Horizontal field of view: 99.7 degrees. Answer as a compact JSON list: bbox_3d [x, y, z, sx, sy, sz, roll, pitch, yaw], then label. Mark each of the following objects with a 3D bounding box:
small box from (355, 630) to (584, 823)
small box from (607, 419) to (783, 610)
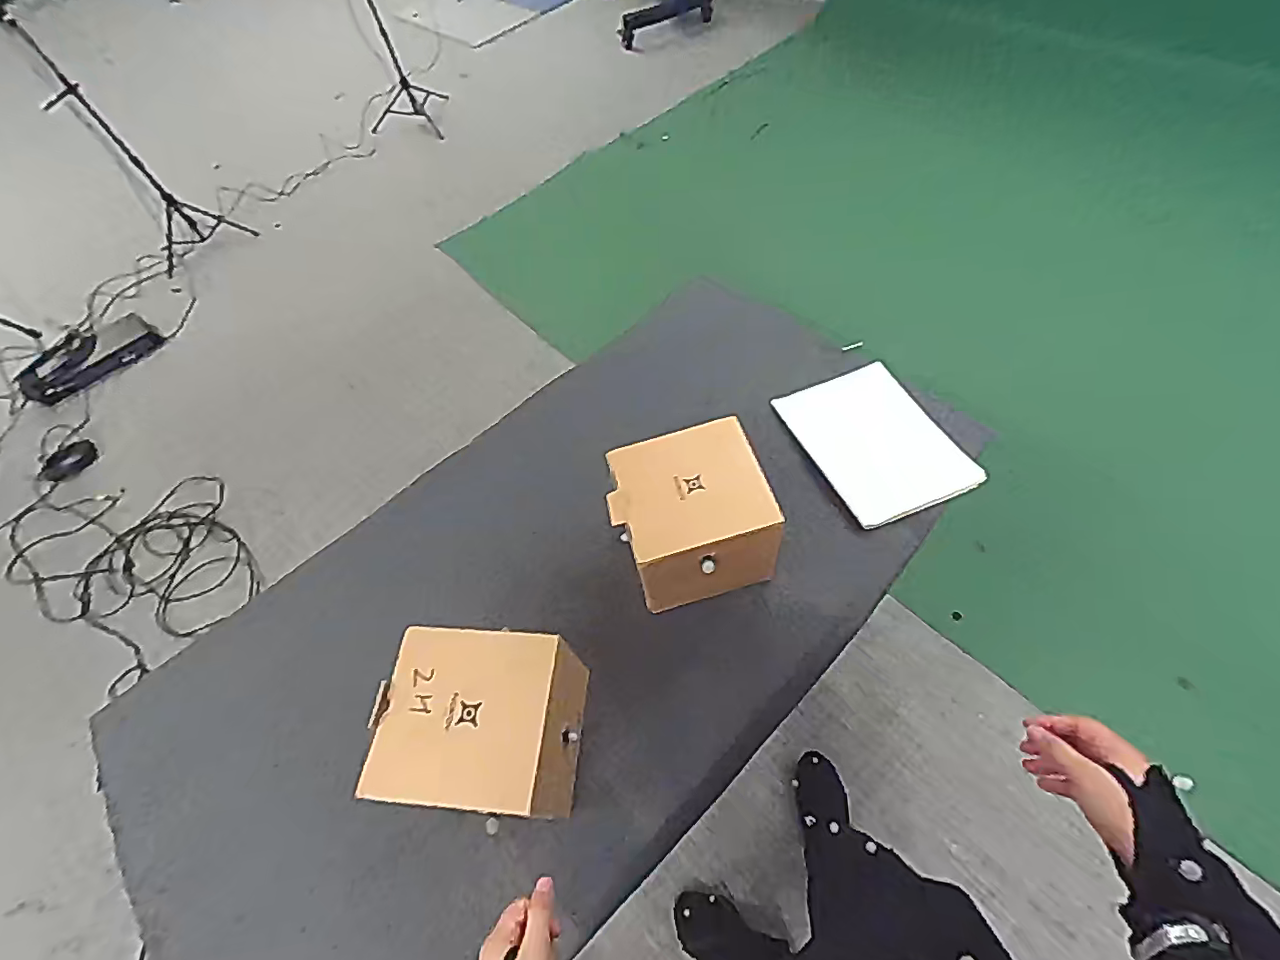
[{"bbox_3d":[-0.167,0.277,0.605,0.179,0.176,0.168,1,58,8],"label":"small box"},{"bbox_3d":[0.068,0.051,0.714,0.179,0.176,0.168,-16,57,-2],"label":"small box"}]
